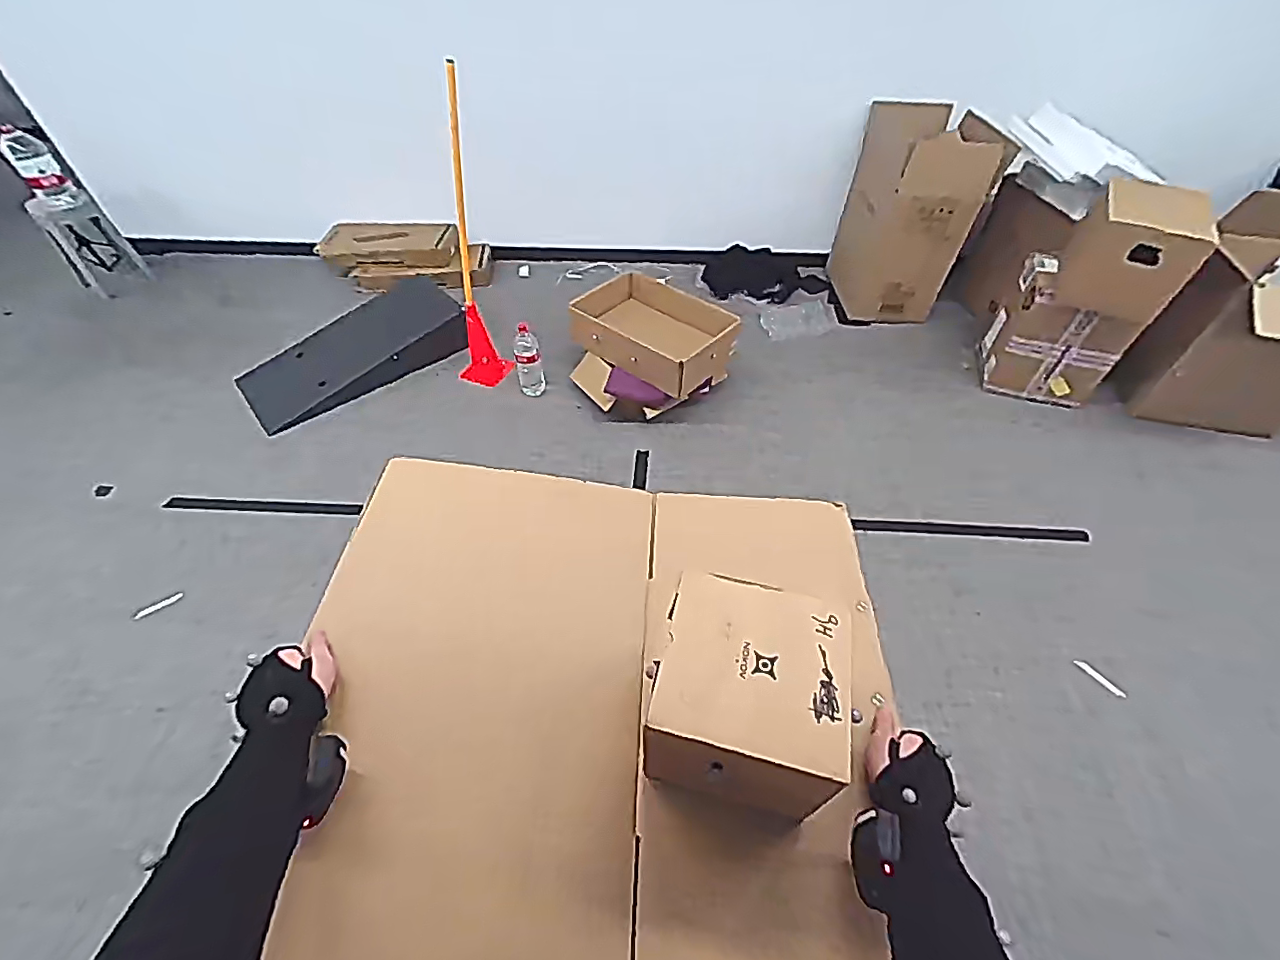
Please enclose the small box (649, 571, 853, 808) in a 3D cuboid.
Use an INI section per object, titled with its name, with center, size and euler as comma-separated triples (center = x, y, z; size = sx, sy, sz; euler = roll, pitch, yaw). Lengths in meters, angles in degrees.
[small box]
center = 0.113, 0.223, 0.571
size = 0.179, 0.176, 0.168
euler = 11, 50, 10
